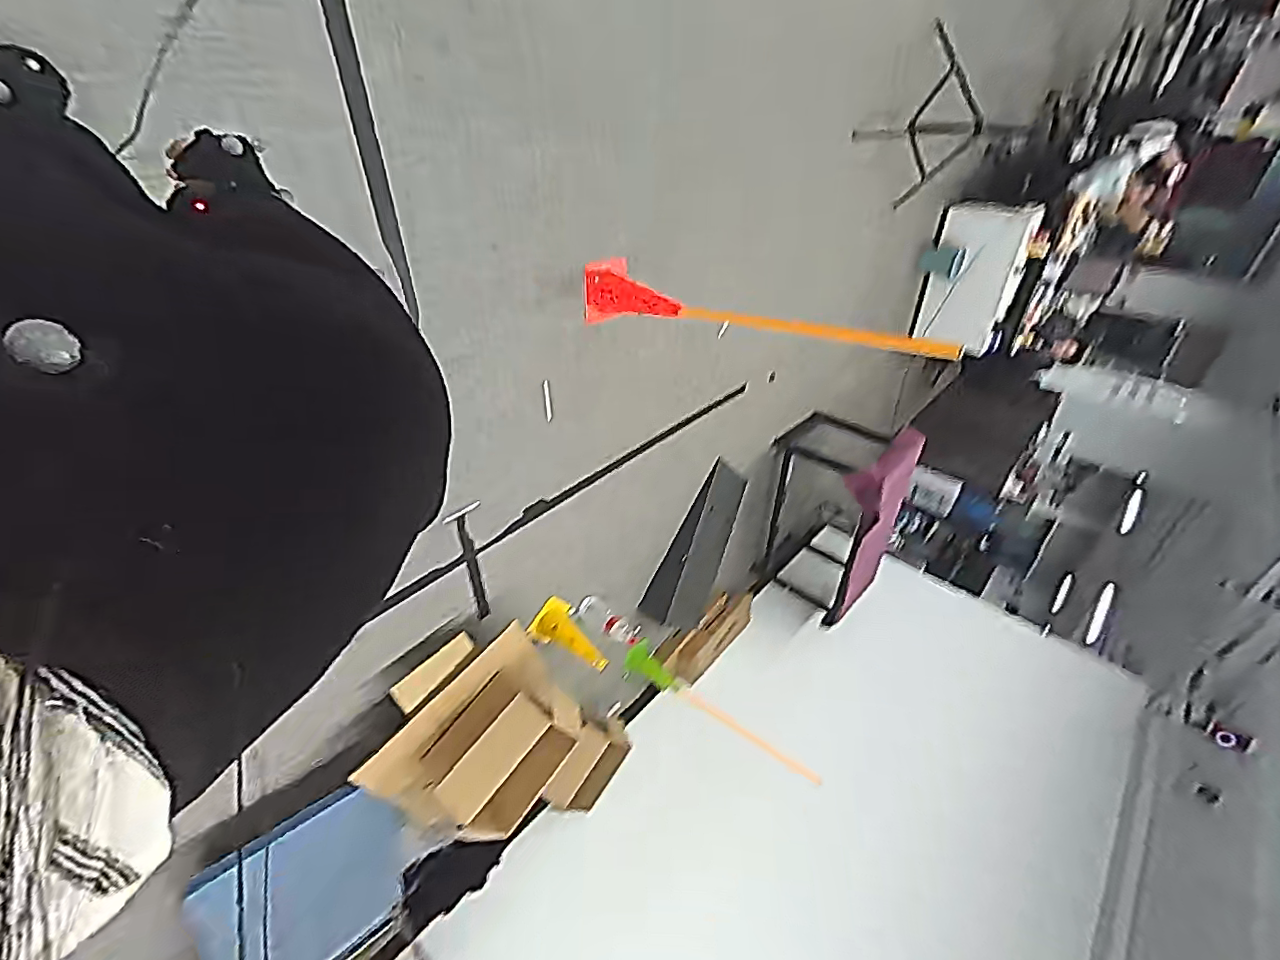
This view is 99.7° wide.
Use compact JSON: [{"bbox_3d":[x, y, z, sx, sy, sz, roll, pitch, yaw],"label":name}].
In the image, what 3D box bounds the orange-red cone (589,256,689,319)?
[{"bbox_3d":[0.018,-0.612,1.814,0.198,0.360,0.199,-29,135,-38],"label":"orange-red cone"}]
